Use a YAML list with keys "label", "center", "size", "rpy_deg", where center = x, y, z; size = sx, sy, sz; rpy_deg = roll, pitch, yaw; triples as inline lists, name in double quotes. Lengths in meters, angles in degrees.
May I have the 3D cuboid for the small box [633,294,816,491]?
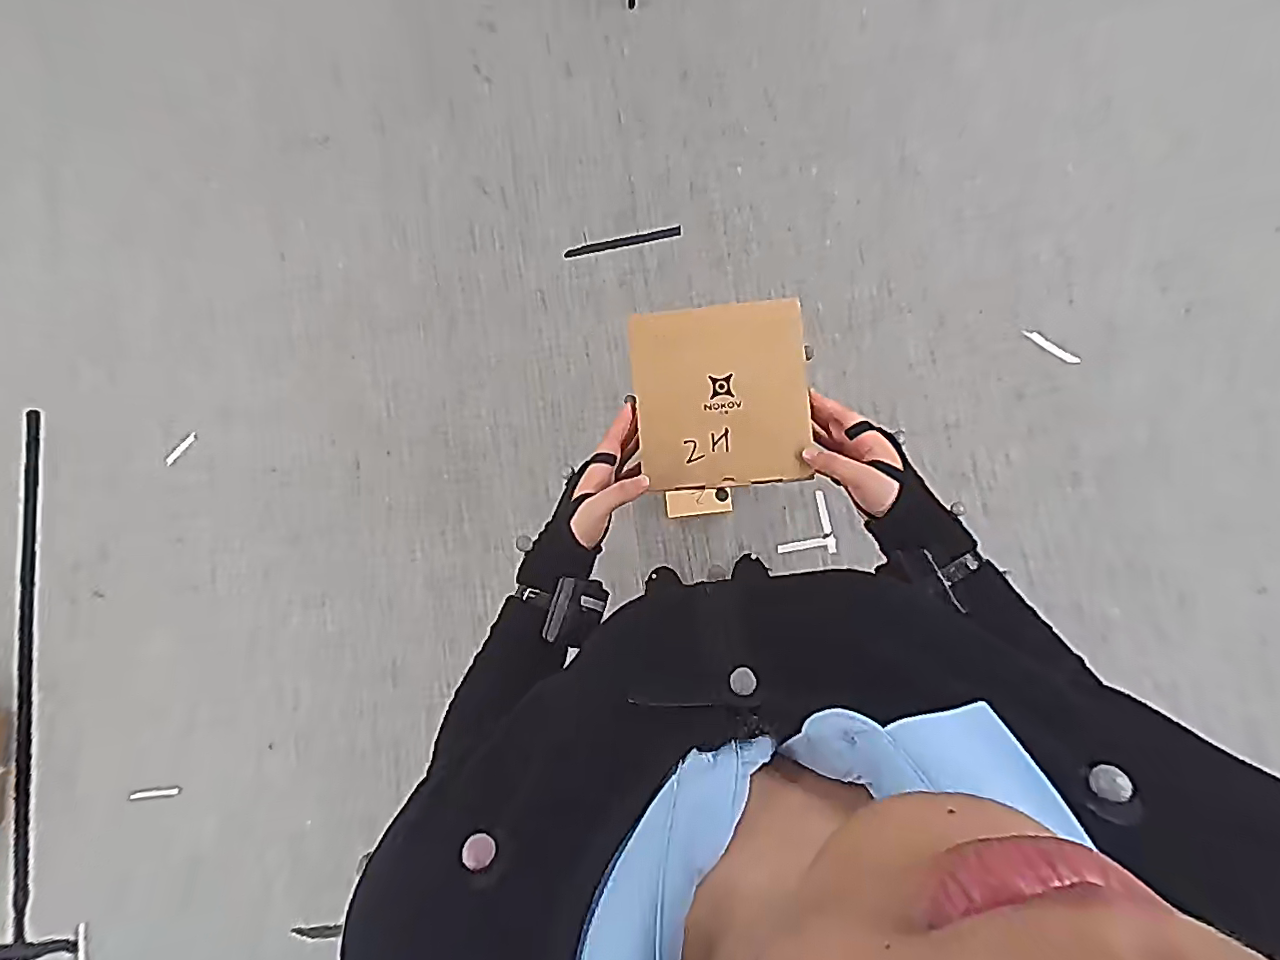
- label: "small box"
  center: [0.085, -0.081, 0.591]
  size: [0.168, 0.176, 0.179]
  rpy_deg: [-5, 88, 6]
